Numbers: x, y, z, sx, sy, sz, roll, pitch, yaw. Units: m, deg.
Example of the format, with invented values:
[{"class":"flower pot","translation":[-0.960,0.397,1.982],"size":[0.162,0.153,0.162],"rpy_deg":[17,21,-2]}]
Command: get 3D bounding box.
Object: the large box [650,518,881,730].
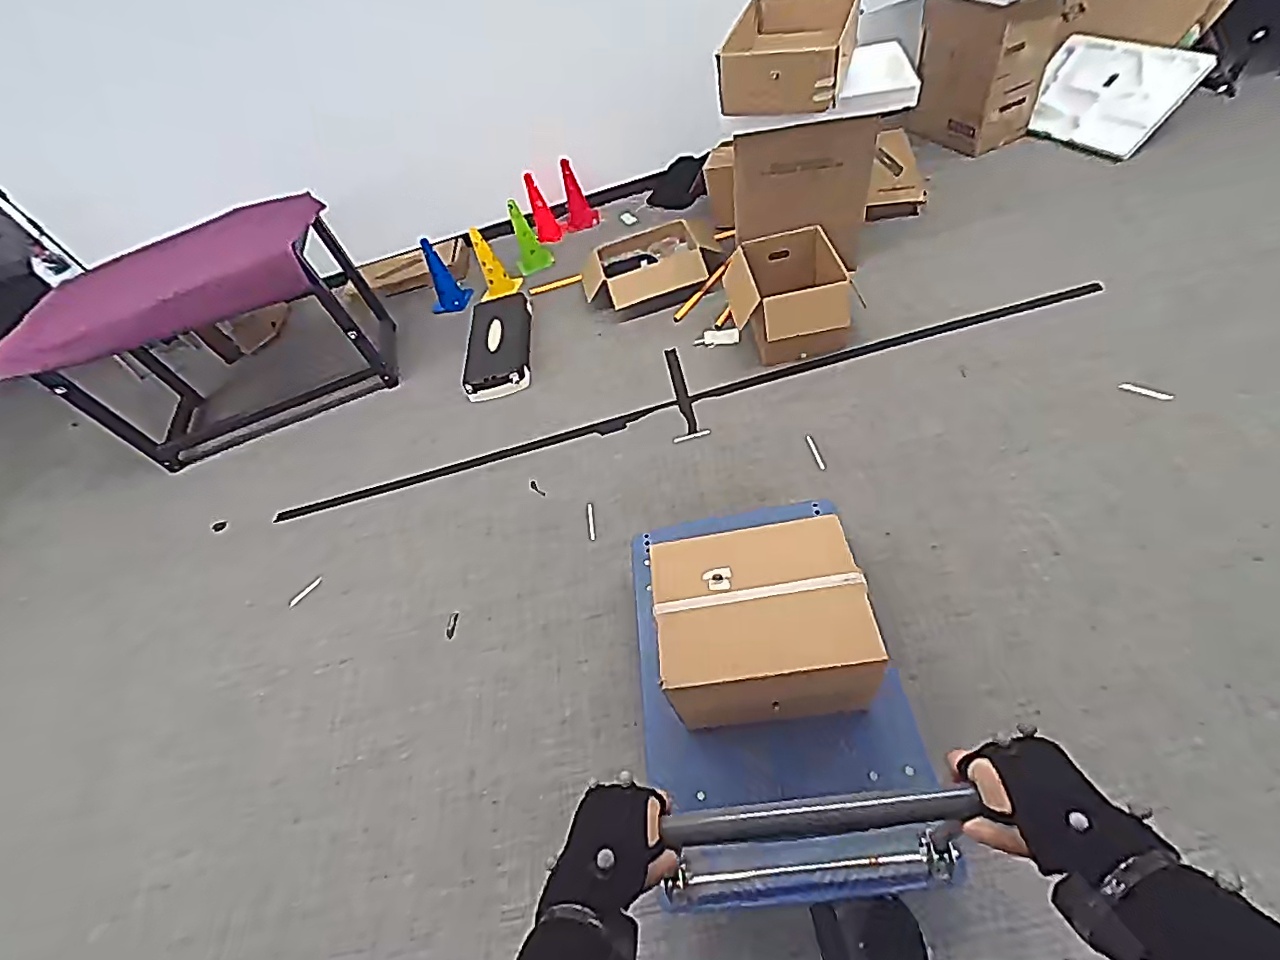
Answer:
[{"class":"large box","translation":[0.261,0.327,1.189],"size":[0.408,0.320,0.320],"rpy_deg":[-12,49,8]}]
